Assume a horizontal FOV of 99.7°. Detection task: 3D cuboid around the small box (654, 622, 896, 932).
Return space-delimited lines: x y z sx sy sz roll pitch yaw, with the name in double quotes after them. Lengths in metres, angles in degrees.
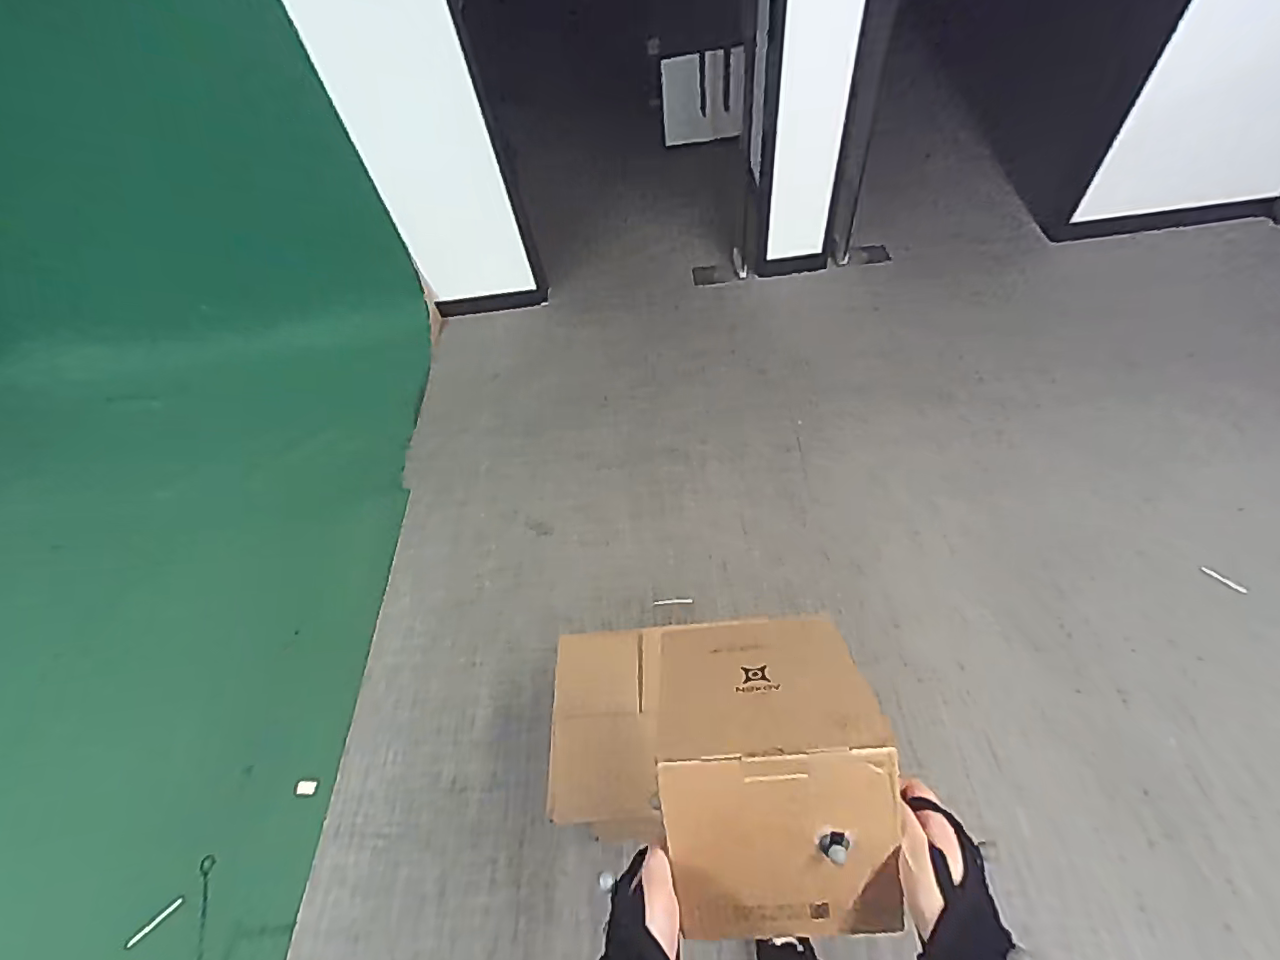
0.108 0.247 0.468 0.168 0.176 0.179 -7 13 6 "small box"
